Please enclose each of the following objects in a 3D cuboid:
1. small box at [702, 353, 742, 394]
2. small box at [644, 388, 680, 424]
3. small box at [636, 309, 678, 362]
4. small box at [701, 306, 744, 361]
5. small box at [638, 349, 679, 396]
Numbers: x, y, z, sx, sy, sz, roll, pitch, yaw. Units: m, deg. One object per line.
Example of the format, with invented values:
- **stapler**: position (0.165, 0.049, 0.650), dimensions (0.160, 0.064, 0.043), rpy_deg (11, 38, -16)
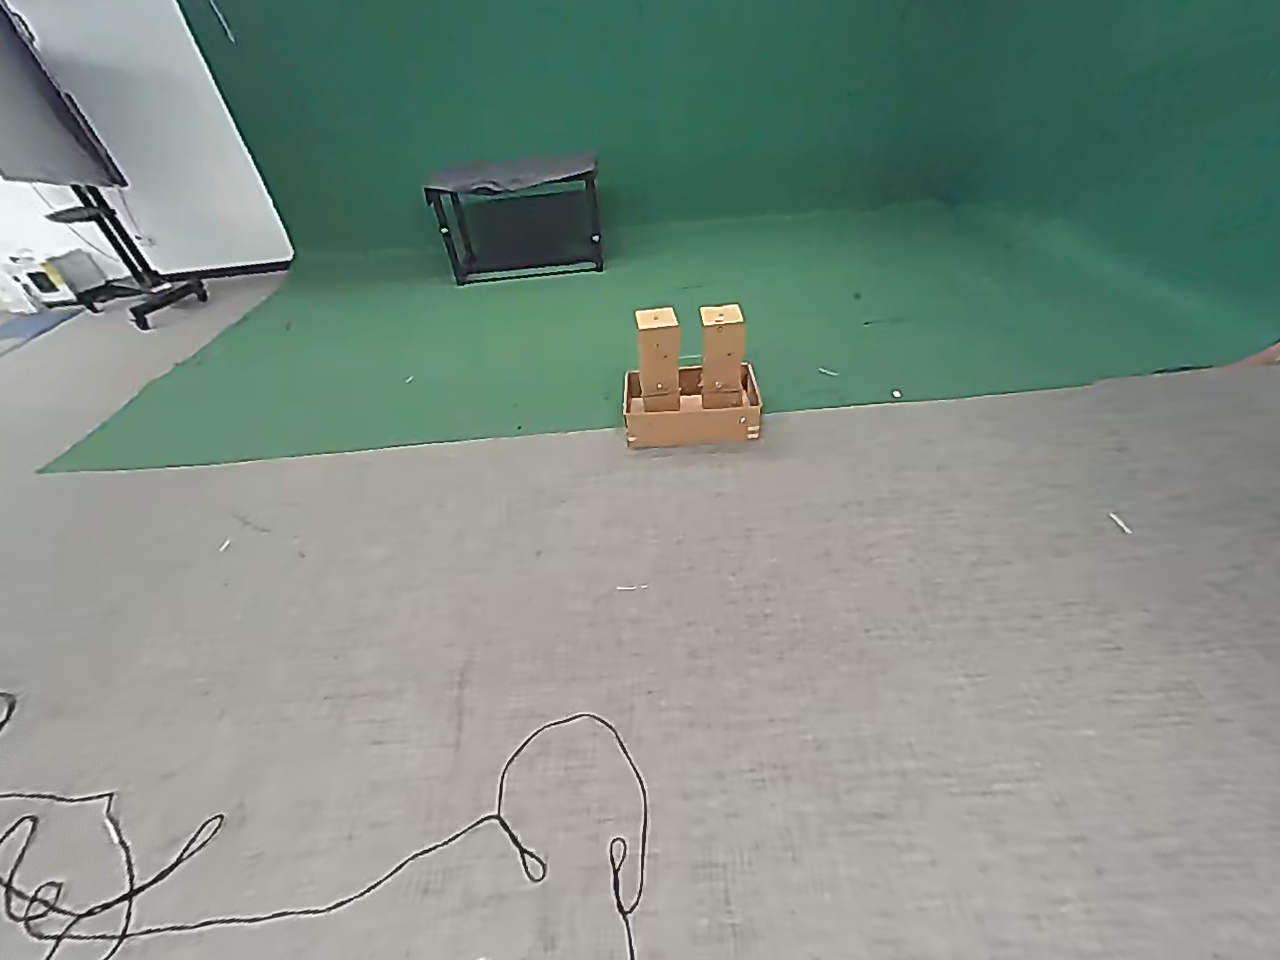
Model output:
- **small box**: position (0.367, -0.507, 2.439), dimensions (0.168, 0.176, 0.179), rpy_deg (-4, 43, 5)
- **small box**: position (0.102, -0.388, 2.586), dimensions (0.168, 0.176, 0.179), rpy_deg (-6, 42, -1)
- **small box**: position (0.075, -0.625, 2.358), dimensions (0.168, 0.176, 0.179), rpy_deg (-6, 42, -3)
- **small box**: position (0.351, -0.631, 2.330), dimensions (0.168, 0.176, 0.179), rpy_deg (-5, 40, 3)
- **small box**: position (0.083, -0.503, 2.469), dimensions (0.168, 0.176, 0.179), rpy_deg (-7, 43, -2)
